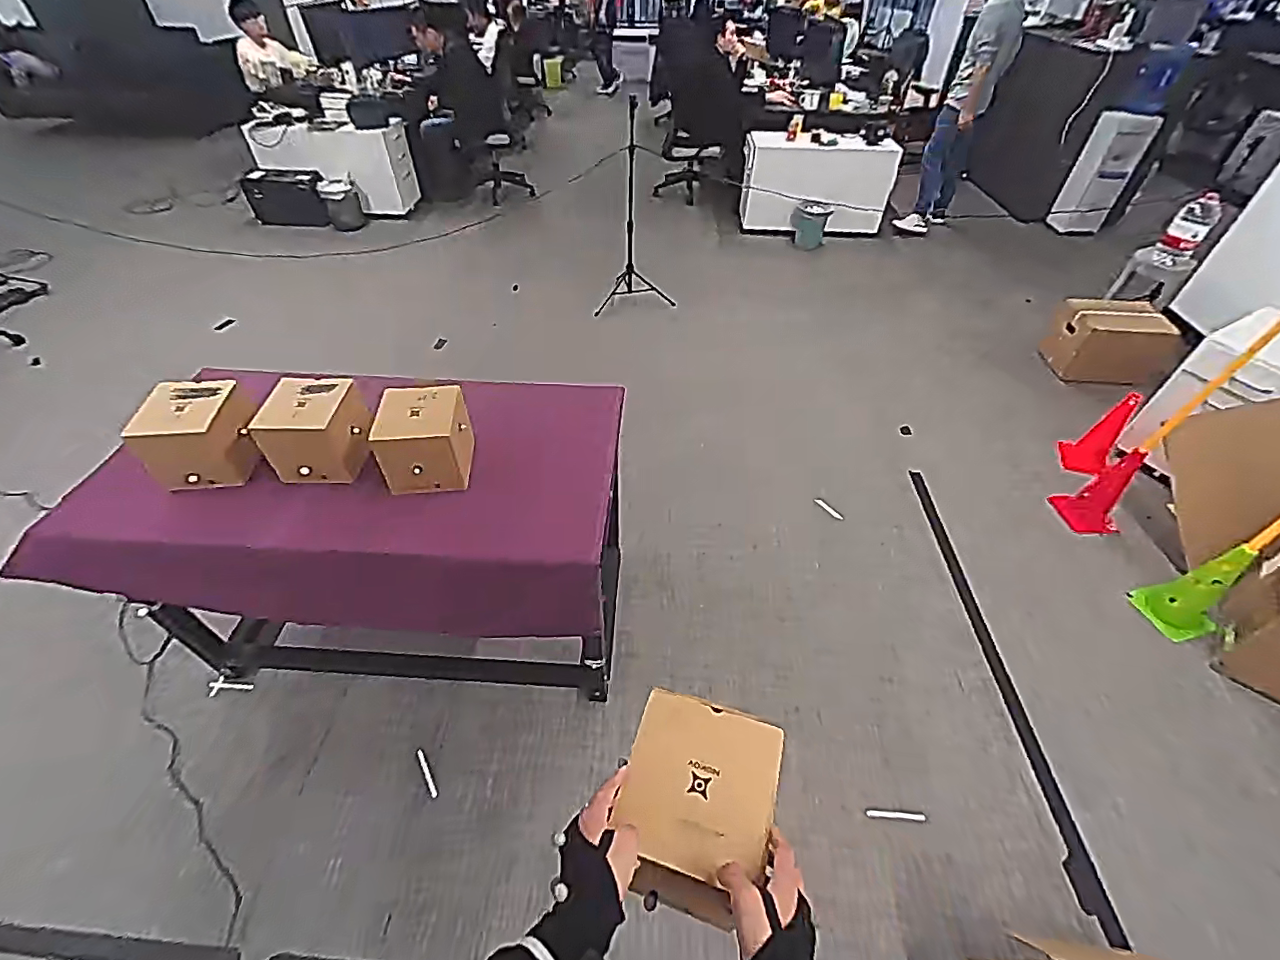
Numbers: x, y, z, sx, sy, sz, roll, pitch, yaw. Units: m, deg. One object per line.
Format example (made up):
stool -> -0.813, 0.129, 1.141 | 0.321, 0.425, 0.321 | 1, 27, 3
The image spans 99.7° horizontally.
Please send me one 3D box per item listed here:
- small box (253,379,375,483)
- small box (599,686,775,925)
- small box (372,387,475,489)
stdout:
small box -> -0.731, -0.113, 1.243 | 0.168, 0.176, 0.179 | 1, 46, -1
small box -> 0.053, 0.391, 0.654 | 0.168, 0.176, 0.179 | 15, 43, 11
small box -> -0.478, -0.090, 1.227 | 0.168, 0.176, 0.179 | -3, 46, -5
